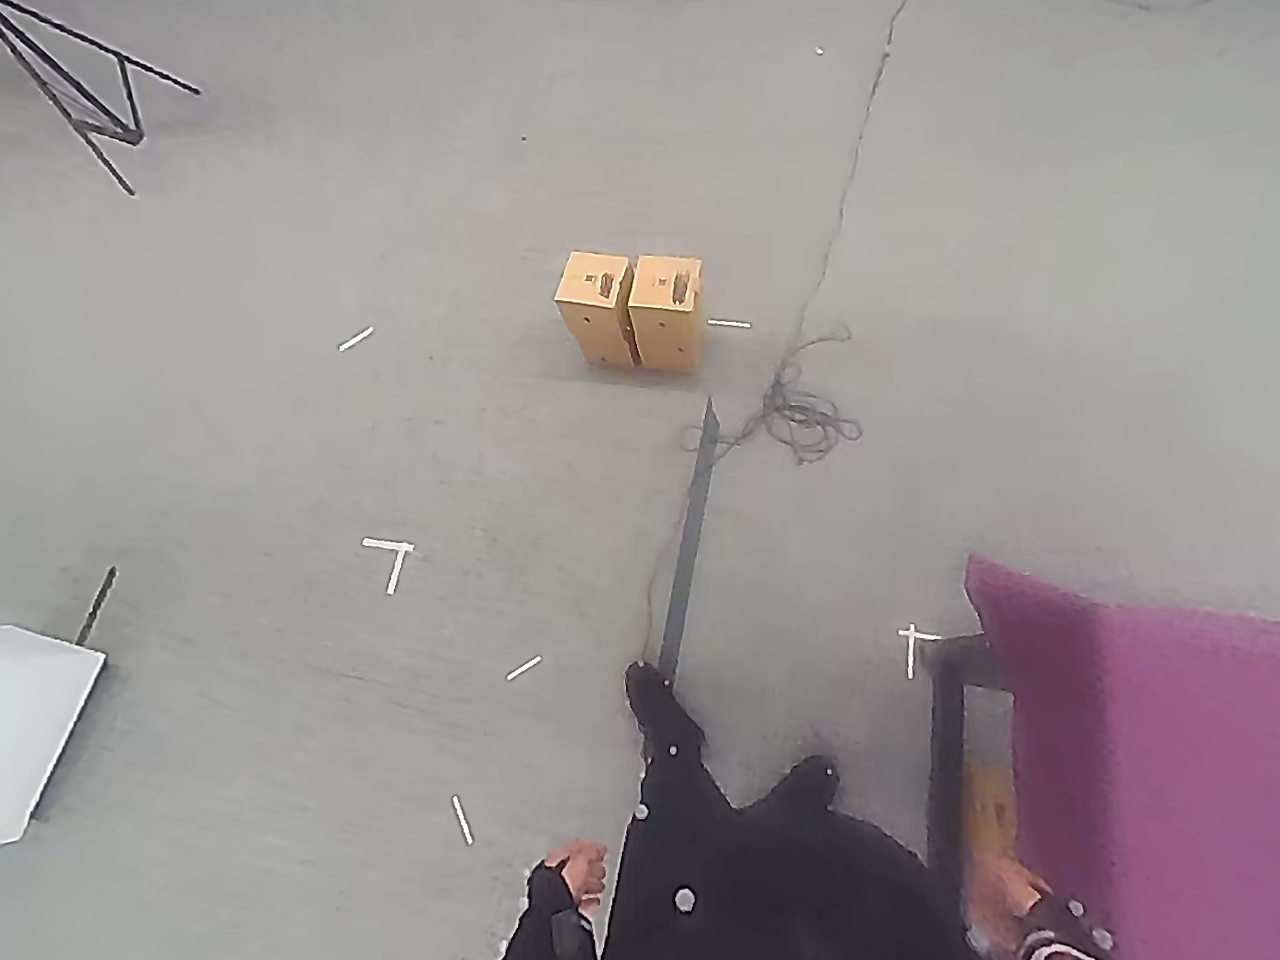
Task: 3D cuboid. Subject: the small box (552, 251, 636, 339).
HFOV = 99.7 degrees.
[{"bbox_3d":[-0.122,-0.518,1.533,0.179,0.176,0.168,12,74,15],"label":"small box"}]
